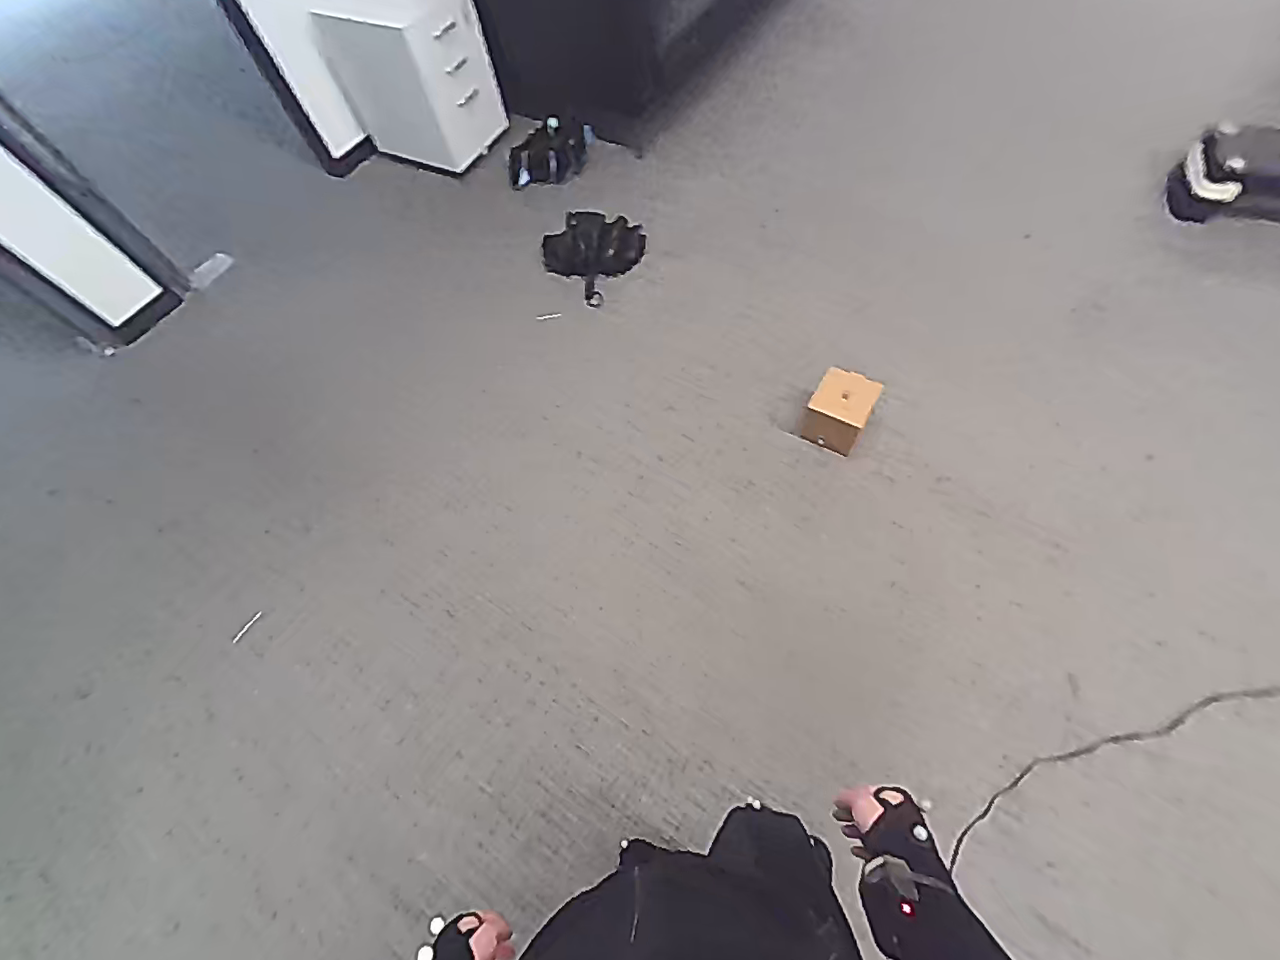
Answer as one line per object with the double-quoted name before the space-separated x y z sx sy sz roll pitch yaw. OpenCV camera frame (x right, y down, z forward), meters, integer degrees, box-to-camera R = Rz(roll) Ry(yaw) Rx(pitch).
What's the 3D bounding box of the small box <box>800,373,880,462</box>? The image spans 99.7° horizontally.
"small box" 0.605 -0.190 1.660 0.168 0.176 0.179 26 69 20
